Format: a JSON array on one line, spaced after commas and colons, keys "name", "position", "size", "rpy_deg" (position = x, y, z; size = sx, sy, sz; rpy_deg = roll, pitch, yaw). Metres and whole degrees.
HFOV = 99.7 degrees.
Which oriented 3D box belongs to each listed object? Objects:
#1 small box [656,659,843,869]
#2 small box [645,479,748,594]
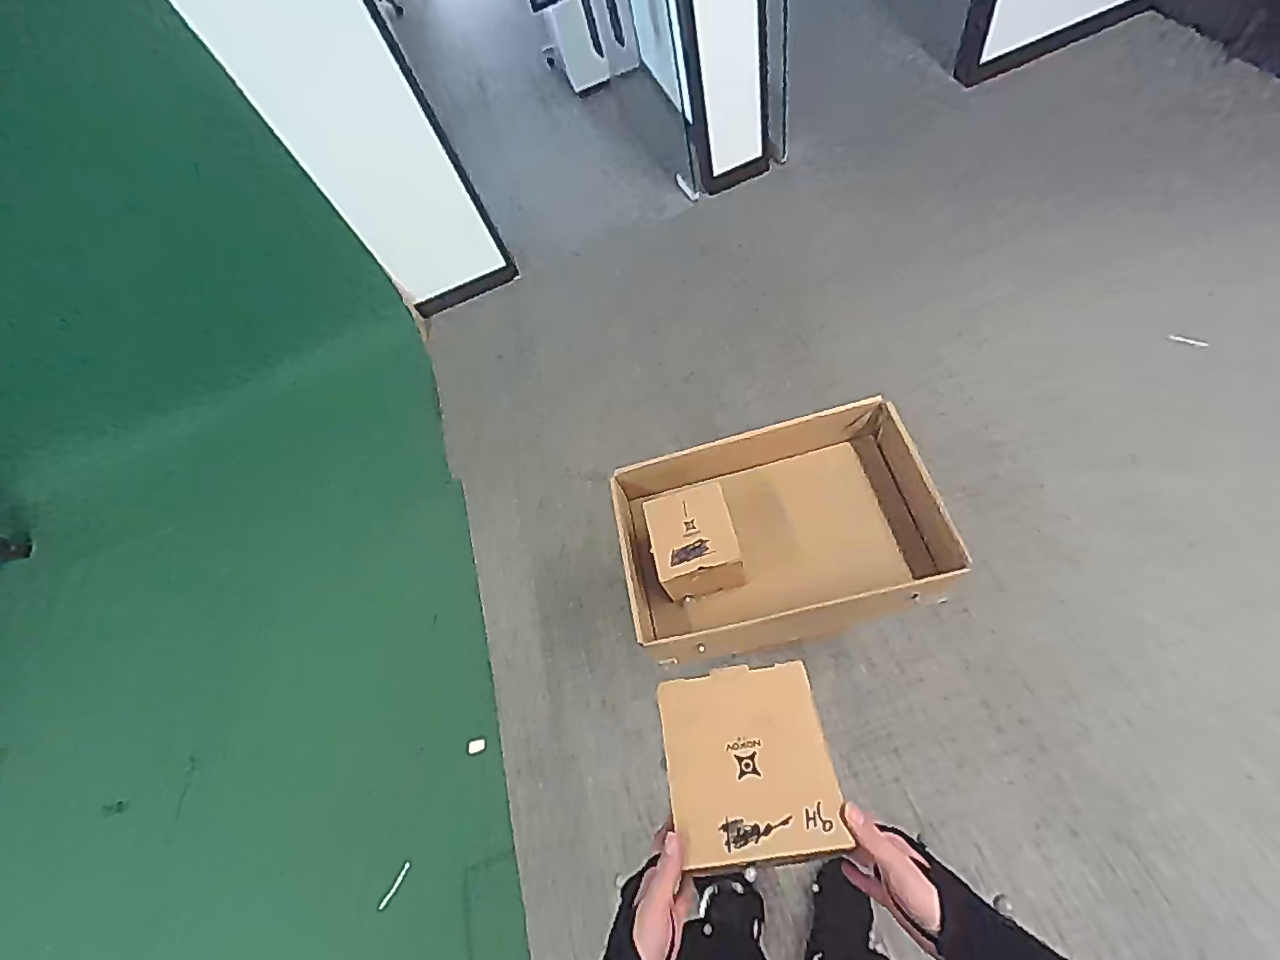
[{"name": "small box", "position": [0.117, 0.330, 0.623], "size": [0.168, 0.176, 0.179], "rpy_deg": [-11, 52, 5]}, {"name": "small box", "position": [0.123, 0.128, 1.136], "size": [0.168, 0.176, 0.179], "rpy_deg": [-17, 60, 7]}]
